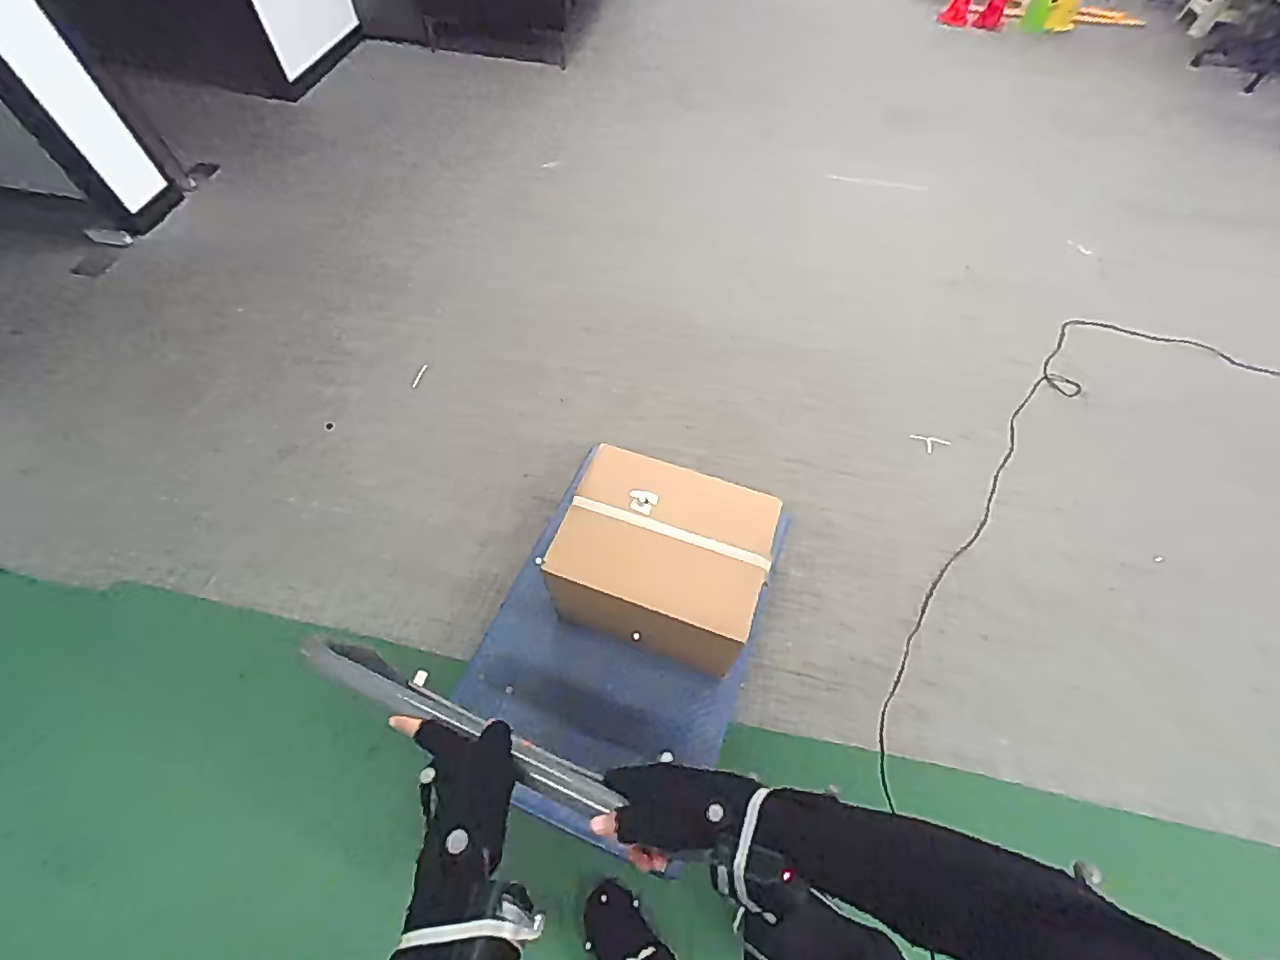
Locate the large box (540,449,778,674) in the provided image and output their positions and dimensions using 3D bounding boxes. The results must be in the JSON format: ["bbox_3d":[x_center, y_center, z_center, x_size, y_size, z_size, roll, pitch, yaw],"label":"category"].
[{"bbox_3d":[0.050,0.185,1.188,0.408,0.320,0.320,18,59,11],"label":"large box"}]
